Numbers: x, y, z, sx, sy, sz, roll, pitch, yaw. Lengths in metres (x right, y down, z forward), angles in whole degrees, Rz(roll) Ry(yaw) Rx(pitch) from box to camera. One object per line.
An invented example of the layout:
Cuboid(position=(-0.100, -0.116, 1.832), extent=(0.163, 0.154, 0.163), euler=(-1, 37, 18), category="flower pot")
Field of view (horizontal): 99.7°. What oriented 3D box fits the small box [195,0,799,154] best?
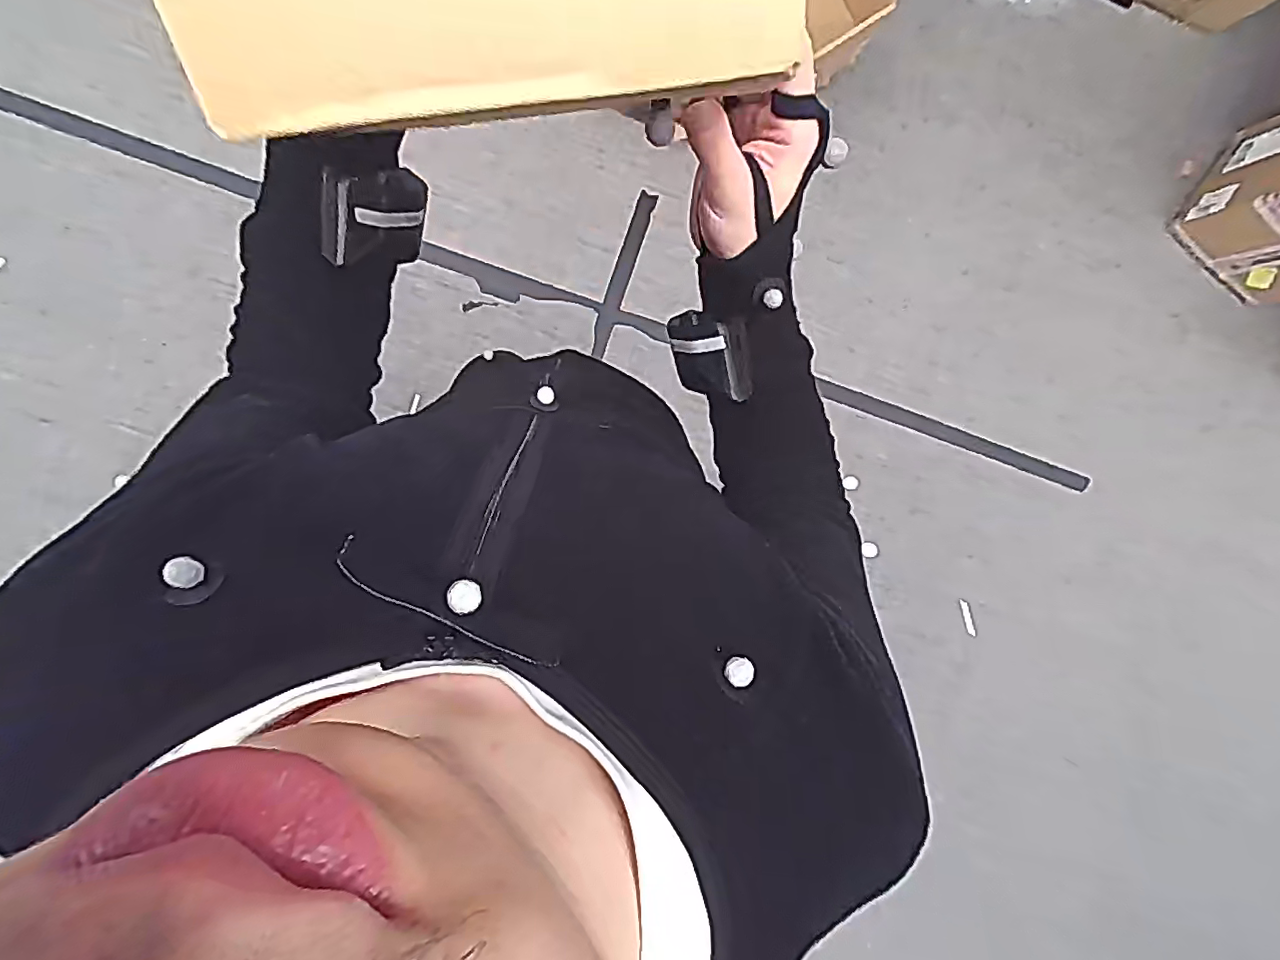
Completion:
Cuboid(position=(-0.042, -0.223, 0.189), extent=(0.179, 0.176, 0.168), euler=(-1, 123, 9), category="small box")
